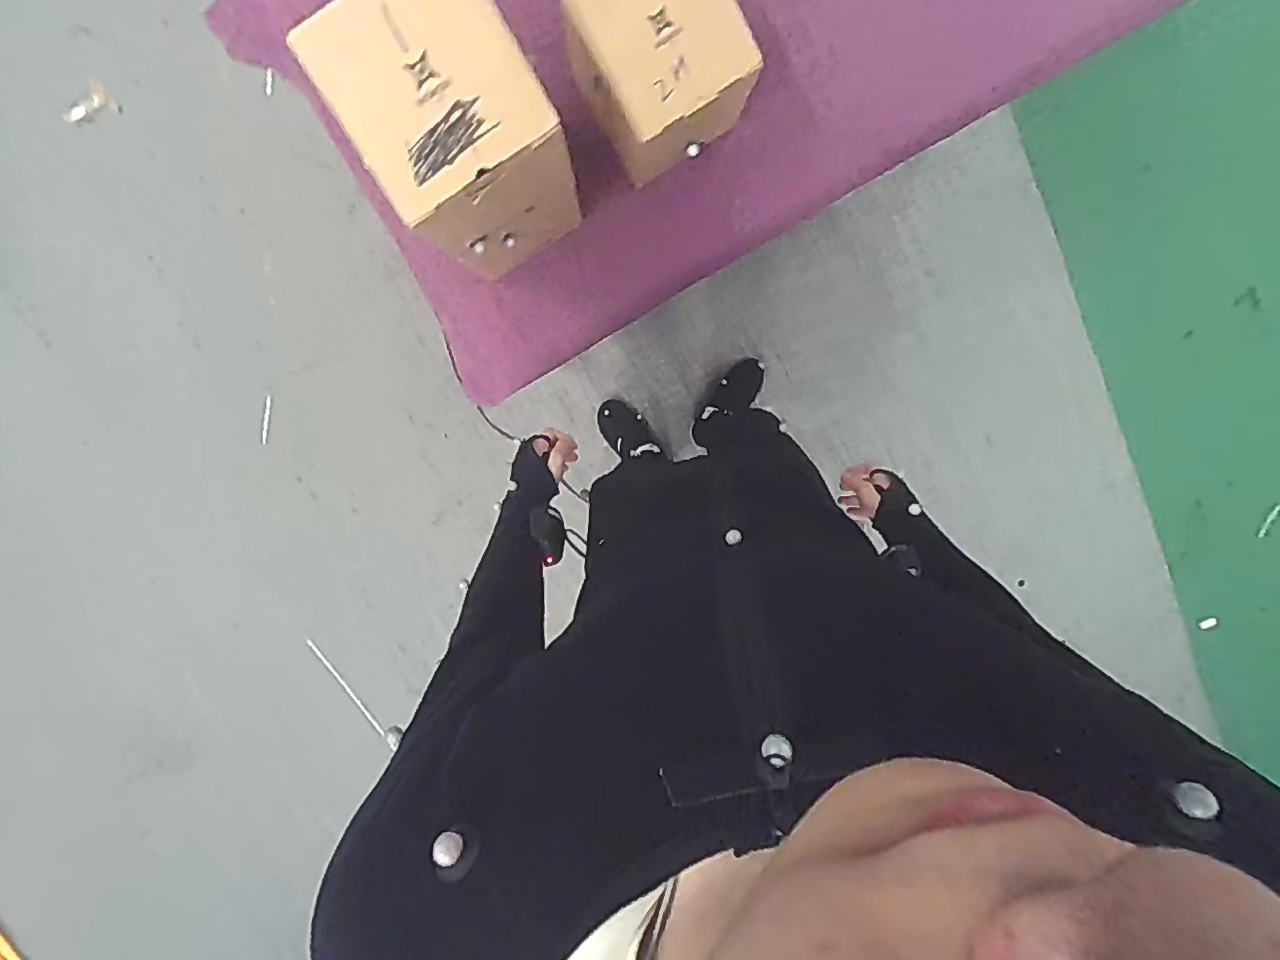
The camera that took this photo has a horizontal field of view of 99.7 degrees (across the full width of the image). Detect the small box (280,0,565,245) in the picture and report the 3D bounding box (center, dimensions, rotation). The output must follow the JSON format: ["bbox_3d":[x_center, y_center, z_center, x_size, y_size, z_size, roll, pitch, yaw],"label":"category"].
[{"bbox_3d":[-0.188,-0.356,0.534,0.168,0.176,0.179,-31,101,4],"label":"small box"}]

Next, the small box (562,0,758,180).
[{"bbox_3d":[0.019,-0.520,0.675,0.168,0.176,0.179,-31,102,5],"label":"small box"}]
